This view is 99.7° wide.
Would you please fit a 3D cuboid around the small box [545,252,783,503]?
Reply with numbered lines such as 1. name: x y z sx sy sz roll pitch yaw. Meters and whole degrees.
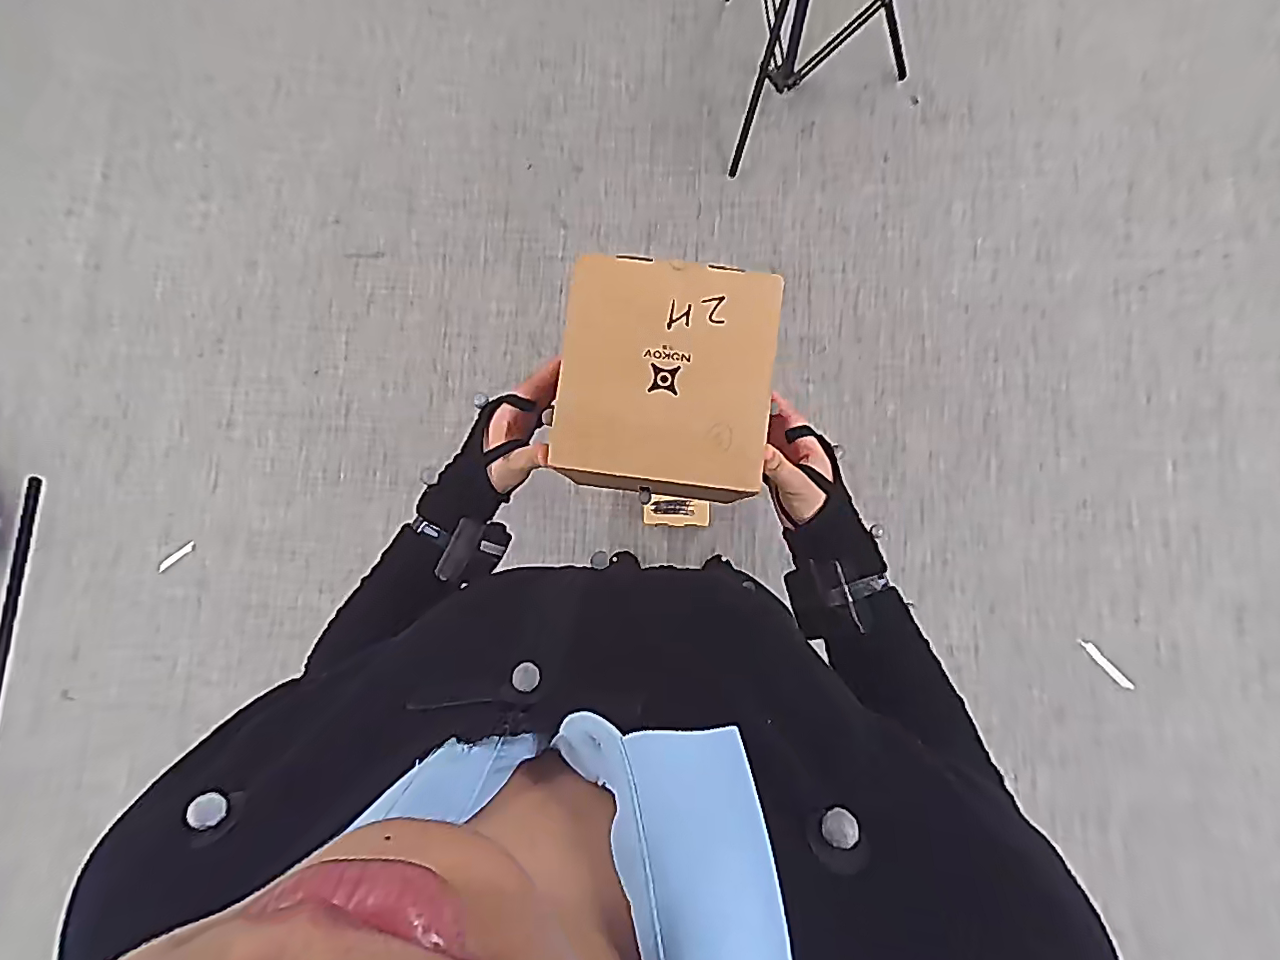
1. small box: 0.021 -0.076 0.494 0.168 0.176 0.179 8 85 1
